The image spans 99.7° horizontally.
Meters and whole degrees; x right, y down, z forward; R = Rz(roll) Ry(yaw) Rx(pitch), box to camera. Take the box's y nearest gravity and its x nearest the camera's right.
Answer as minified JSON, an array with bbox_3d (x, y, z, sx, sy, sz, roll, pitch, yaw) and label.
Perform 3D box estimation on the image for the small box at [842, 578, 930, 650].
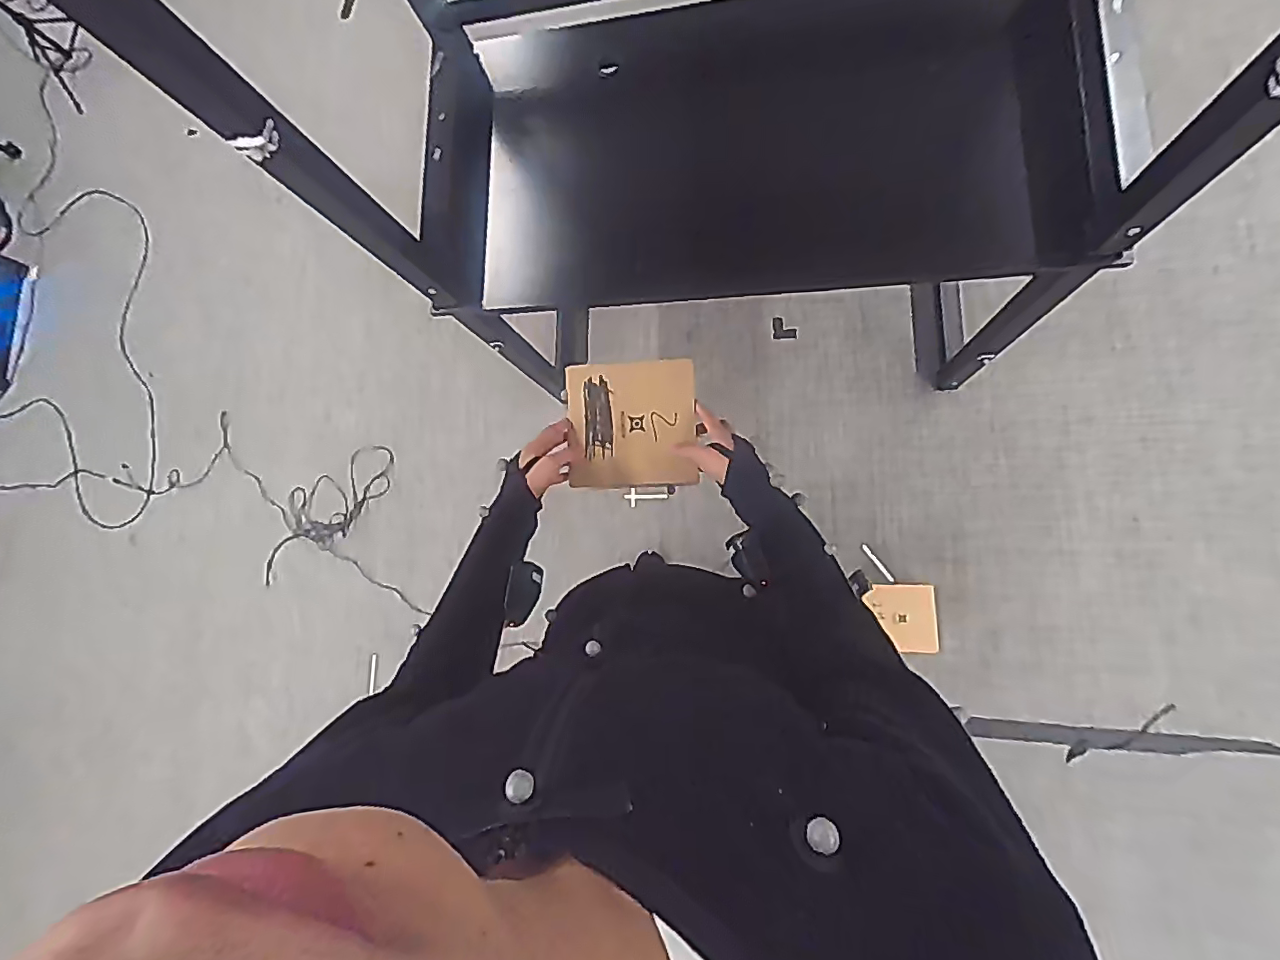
[{"bbox_3d":[0.645,0.349,1.434,0.179,0.176,0.168,-1,82,11],"label":"small box"}]
